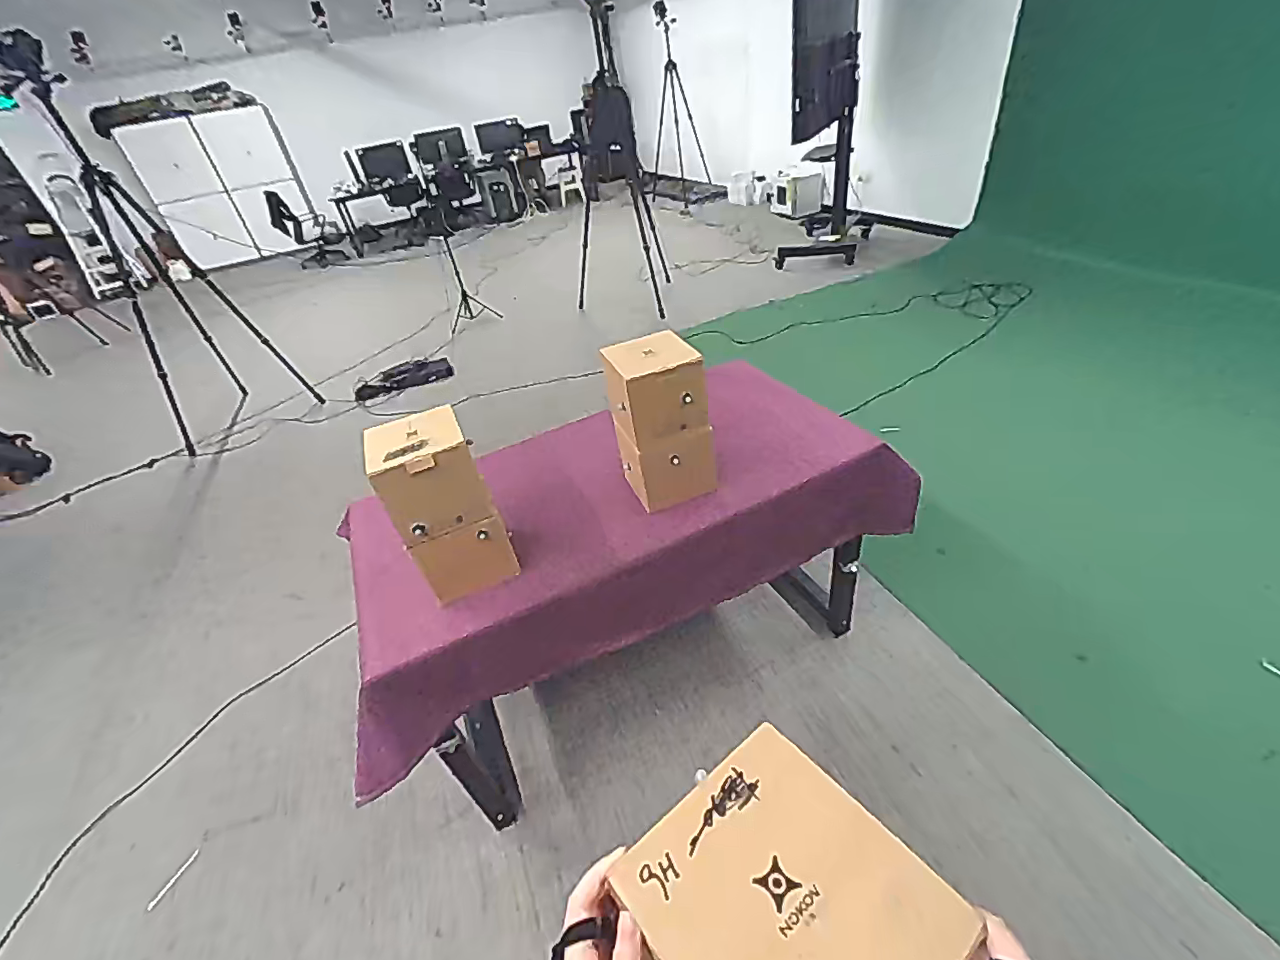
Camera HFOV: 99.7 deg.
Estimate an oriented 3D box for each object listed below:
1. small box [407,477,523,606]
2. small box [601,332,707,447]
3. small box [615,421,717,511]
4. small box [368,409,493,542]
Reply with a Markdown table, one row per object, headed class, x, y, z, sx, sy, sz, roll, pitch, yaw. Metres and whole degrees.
| class | x | y | z | sx | sy | sz | roll | pitch | yaw |
| --- | --- | --- | --- | --- | --- | --- | --- | --- | --- |
| small box | -0.362 | 0.127 | 1.114 | 0.179 | 0.176 | 0.168 | -22 | 38 | -14 |
| small box | 0.032 | -0.187 | 1.145 | 0.168 | 0.176 | 0.179 | -19 | 37 | -11 |
| small box | 0.063 | -0.055 | 1.235 | 0.179 | 0.176 | 0.168 | -20 | 38 | -10 |
| small box | -0.391 | -0.004 | 1.019 | 0.168 | 0.176 | 0.179 | -22 | 37 | -15 |
